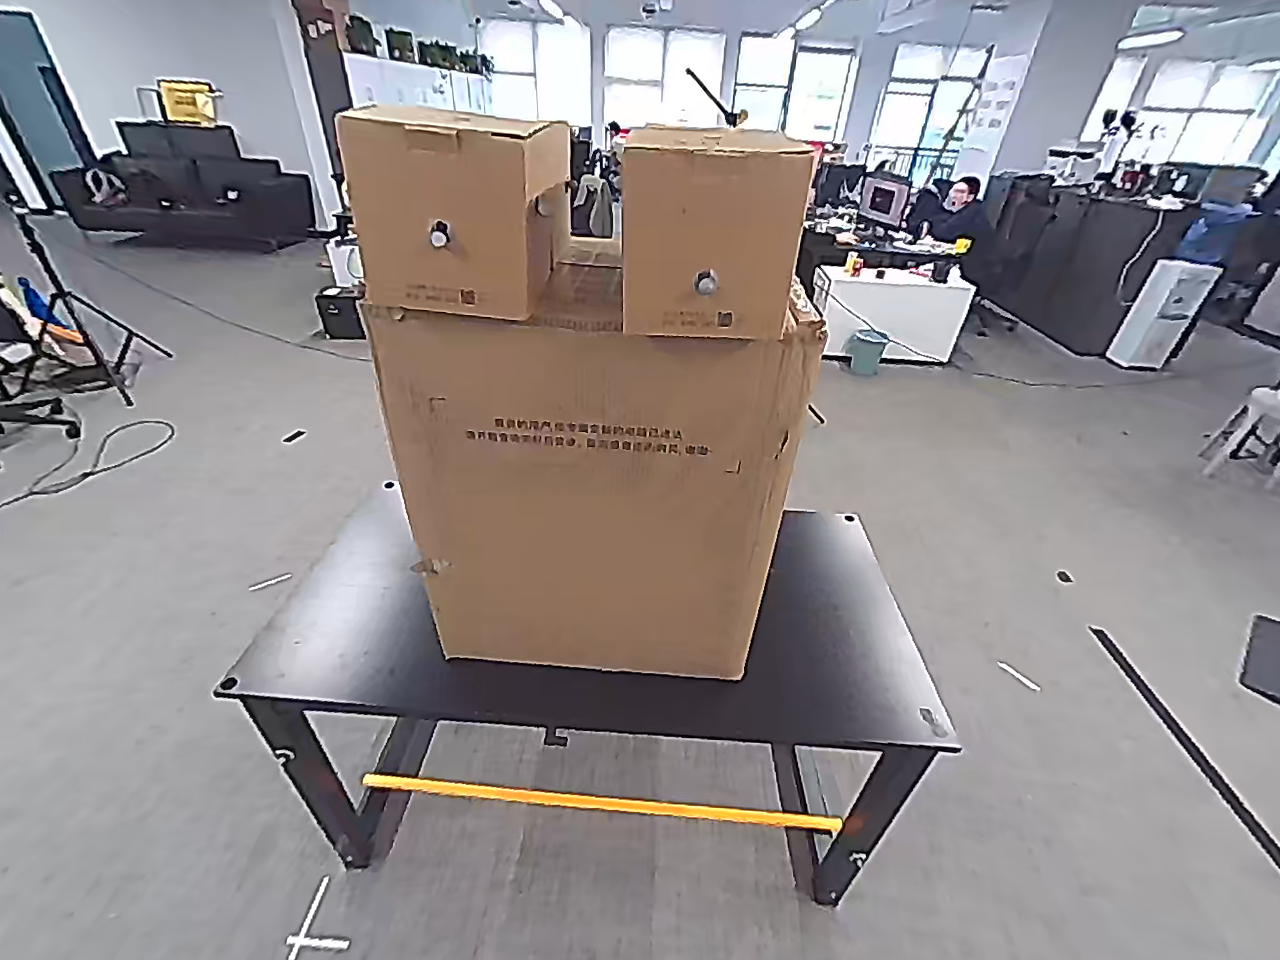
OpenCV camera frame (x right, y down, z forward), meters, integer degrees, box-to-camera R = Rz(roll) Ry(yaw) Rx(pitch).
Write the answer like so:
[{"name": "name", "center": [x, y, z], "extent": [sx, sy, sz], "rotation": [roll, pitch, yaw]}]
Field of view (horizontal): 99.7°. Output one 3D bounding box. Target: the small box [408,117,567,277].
[{"name": "small box", "center": [-0.194, -0.391, 0.745], "extent": [0.168, 0.176, 0.179], "rotation": [3, 34, 0]}]

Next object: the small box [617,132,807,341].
[{"name": "small box", "center": [0.063, -0.262, 0.574], "extent": [0.168, 0.176, 0.179], "rotation": [2, 37, 2]}]
